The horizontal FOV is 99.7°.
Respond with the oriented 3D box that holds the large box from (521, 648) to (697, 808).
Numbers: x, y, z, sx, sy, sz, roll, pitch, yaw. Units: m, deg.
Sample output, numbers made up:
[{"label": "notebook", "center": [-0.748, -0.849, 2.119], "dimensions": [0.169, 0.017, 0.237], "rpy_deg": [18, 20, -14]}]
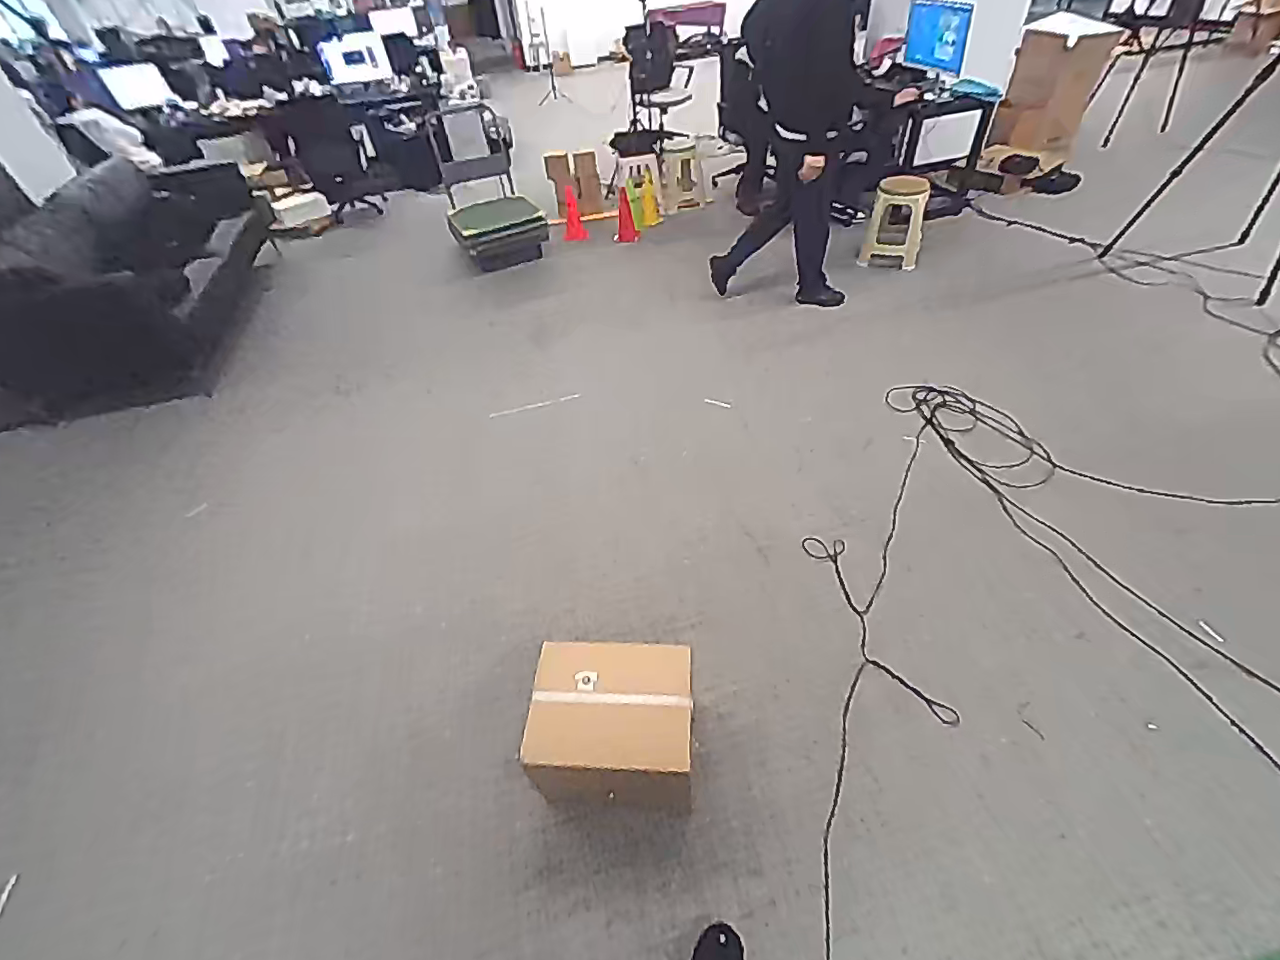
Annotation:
[{"label": "large box", "center": [-0.056, 0.664, 1.449], "dimensions": [0.408, 0.320, 0.320], "rpy_deg": [-1, 44, 7]}]
